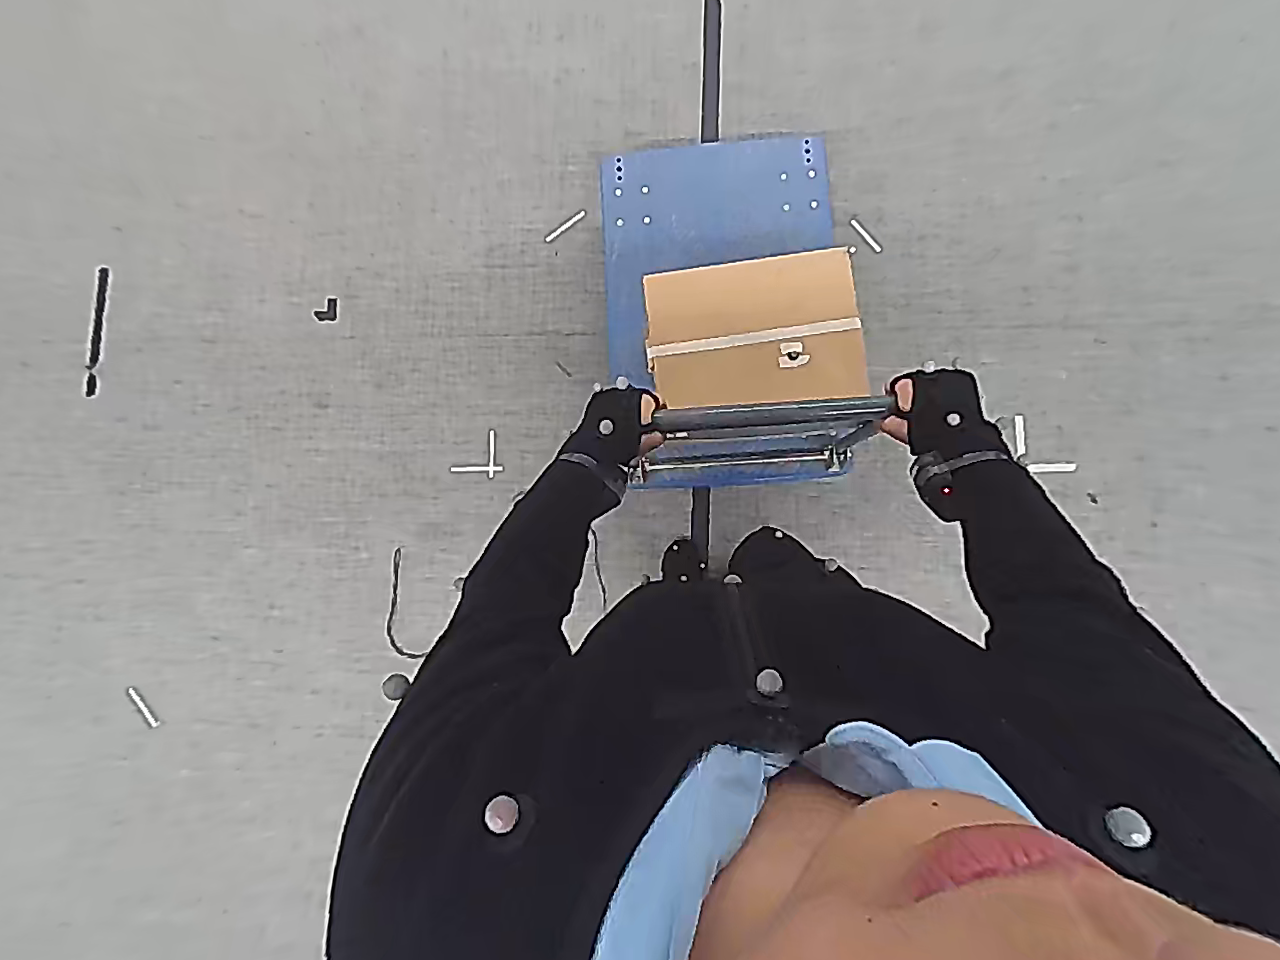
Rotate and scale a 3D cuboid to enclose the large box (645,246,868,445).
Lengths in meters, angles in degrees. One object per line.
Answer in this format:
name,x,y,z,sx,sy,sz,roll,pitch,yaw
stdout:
large box,0.234,-0.274,1.210,0.408,0.320,0.320,-7,87,3
